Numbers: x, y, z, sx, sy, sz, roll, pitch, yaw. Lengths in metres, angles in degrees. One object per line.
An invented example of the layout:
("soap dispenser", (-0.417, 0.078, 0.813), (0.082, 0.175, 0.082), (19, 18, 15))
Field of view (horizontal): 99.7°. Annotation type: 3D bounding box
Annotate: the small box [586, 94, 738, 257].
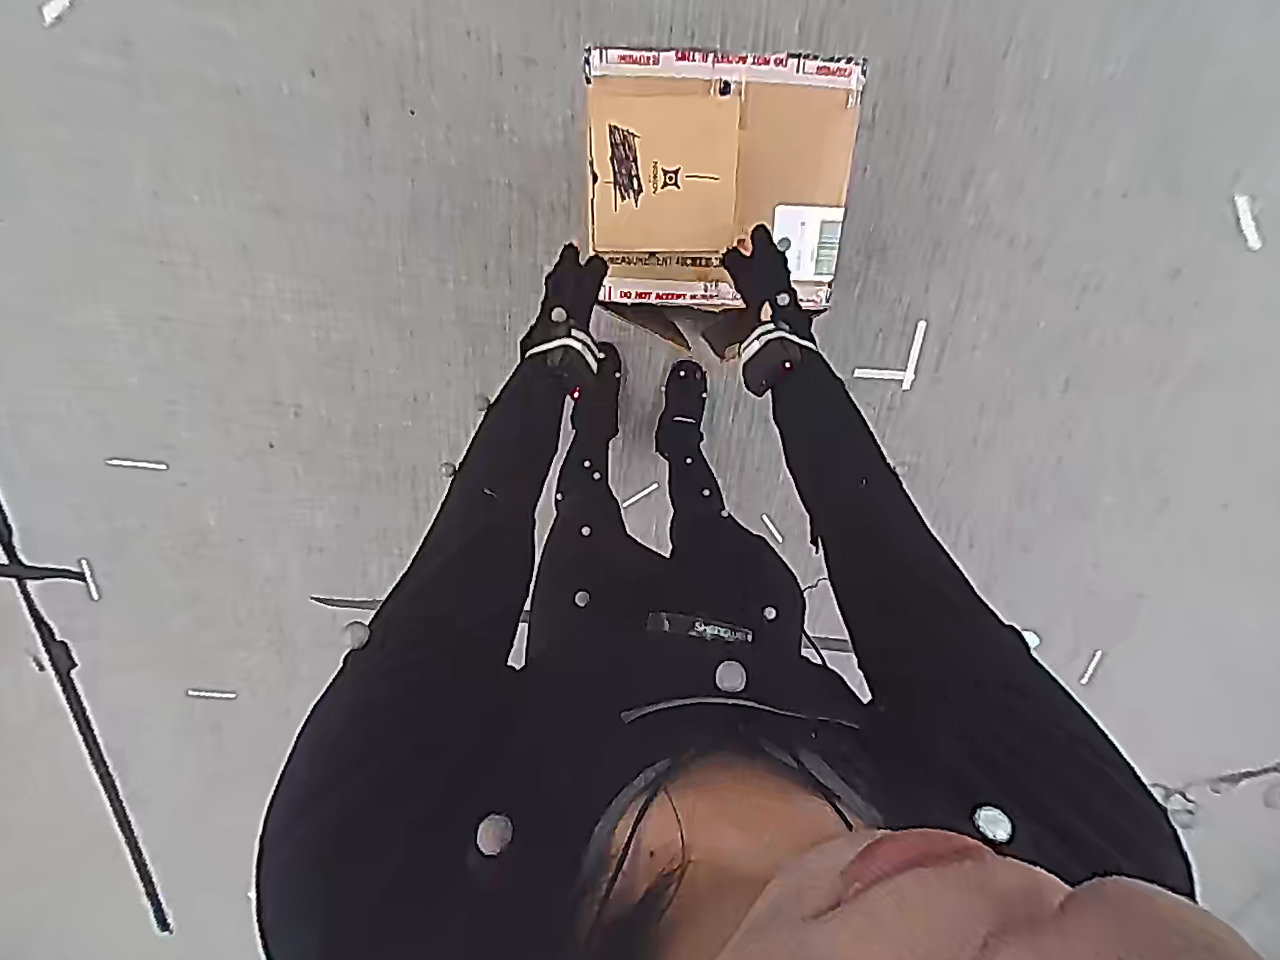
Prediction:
("small box", (0.026, -0.388, 0.716), (0.179, 0.176, 0.168), (0, 110, 0))
